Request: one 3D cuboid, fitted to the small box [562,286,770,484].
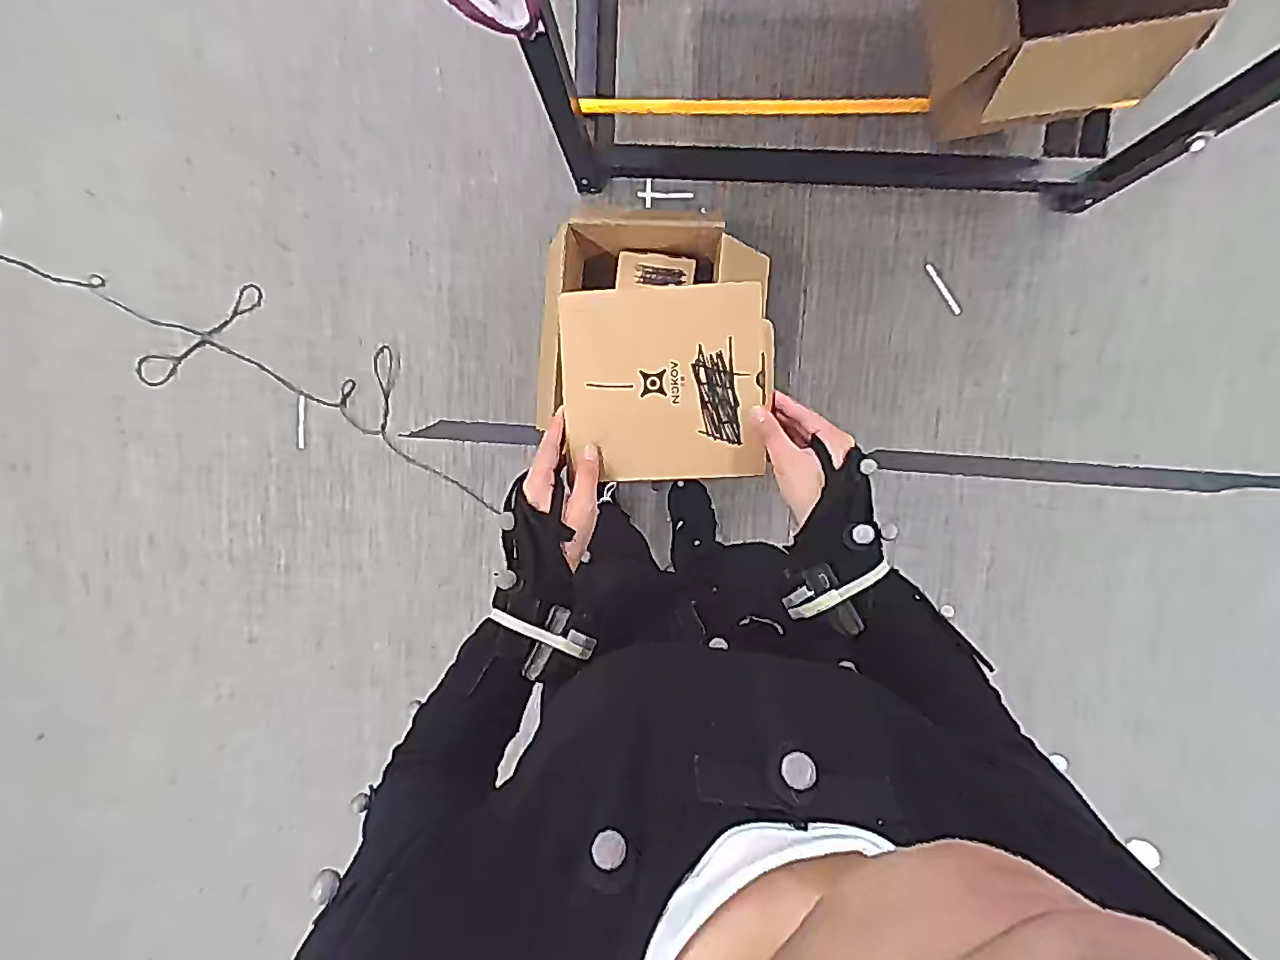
[{"bbox_3d":[0.025,-0.086,0.541,0.179,0.176,0.168,-2,94,3],"label":"small box"}]
